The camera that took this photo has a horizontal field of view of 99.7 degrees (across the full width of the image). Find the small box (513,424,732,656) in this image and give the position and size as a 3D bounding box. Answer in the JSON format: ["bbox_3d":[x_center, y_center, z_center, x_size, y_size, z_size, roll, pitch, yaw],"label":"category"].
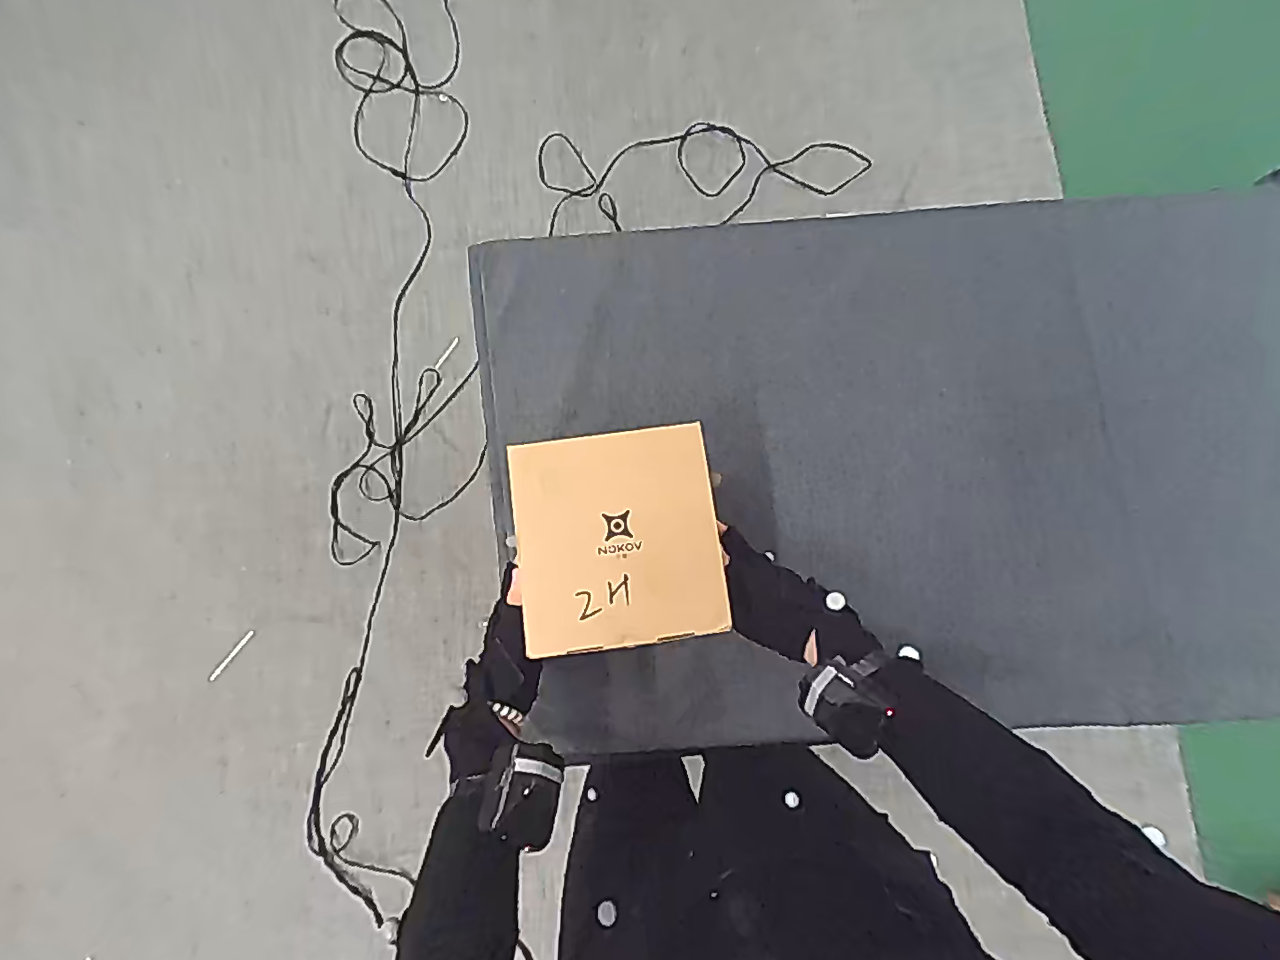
[{"bbox_3d":[-0.019,0.059,0.517,0.168,0.176,0.179,-7,80,-2],"label":"small box"}]
